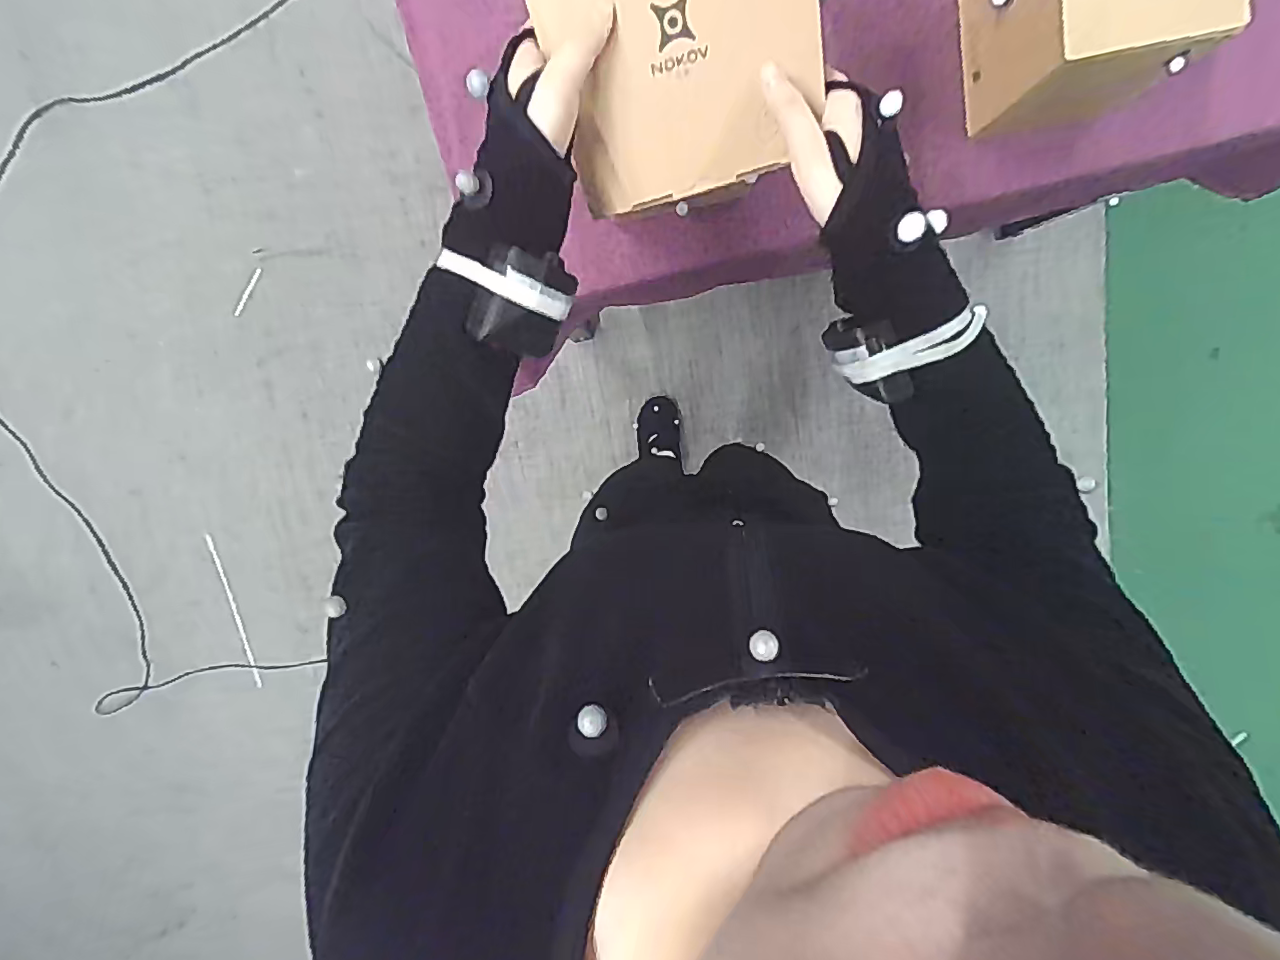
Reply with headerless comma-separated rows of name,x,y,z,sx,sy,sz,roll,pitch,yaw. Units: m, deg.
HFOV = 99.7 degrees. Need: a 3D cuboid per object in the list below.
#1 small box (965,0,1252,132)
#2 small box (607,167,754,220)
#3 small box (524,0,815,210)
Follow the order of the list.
small box,0.475,-0.505,0.576,0.179,0.176,0.168,-10,100,2
small box,0.033,-0.412,0.602,0.179,0.176,0.168,-11,99,2
small box,0.025,-0.319,0.386,0.168,0.176,0.179,-9,123,13
